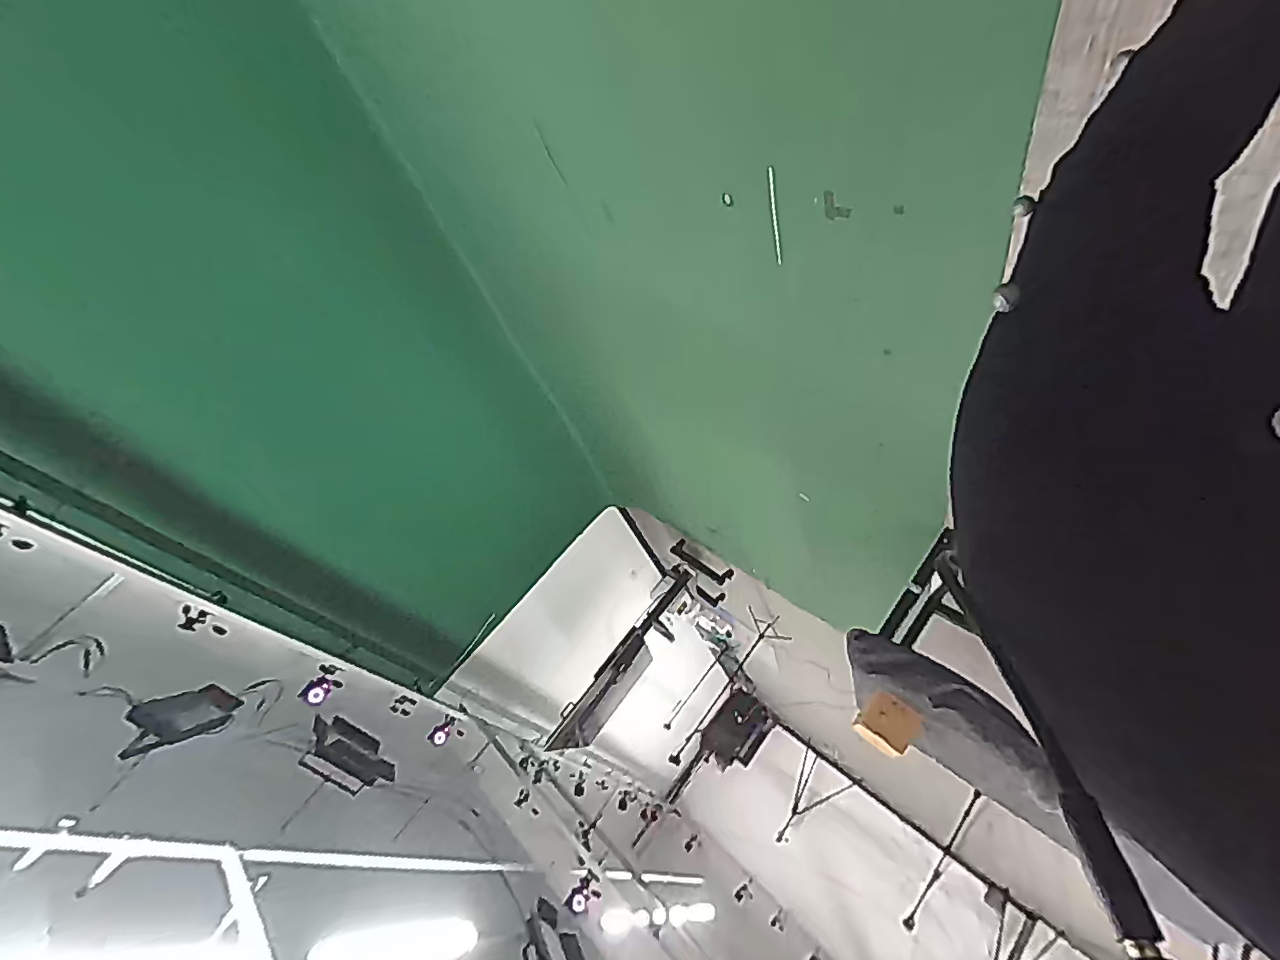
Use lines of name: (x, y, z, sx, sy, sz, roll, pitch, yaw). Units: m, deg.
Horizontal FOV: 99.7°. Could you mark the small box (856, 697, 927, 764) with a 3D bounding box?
small box: (0.942, 0.935, 2.023, 0.168, 0.176, 0.179, 35, 164, 25)
